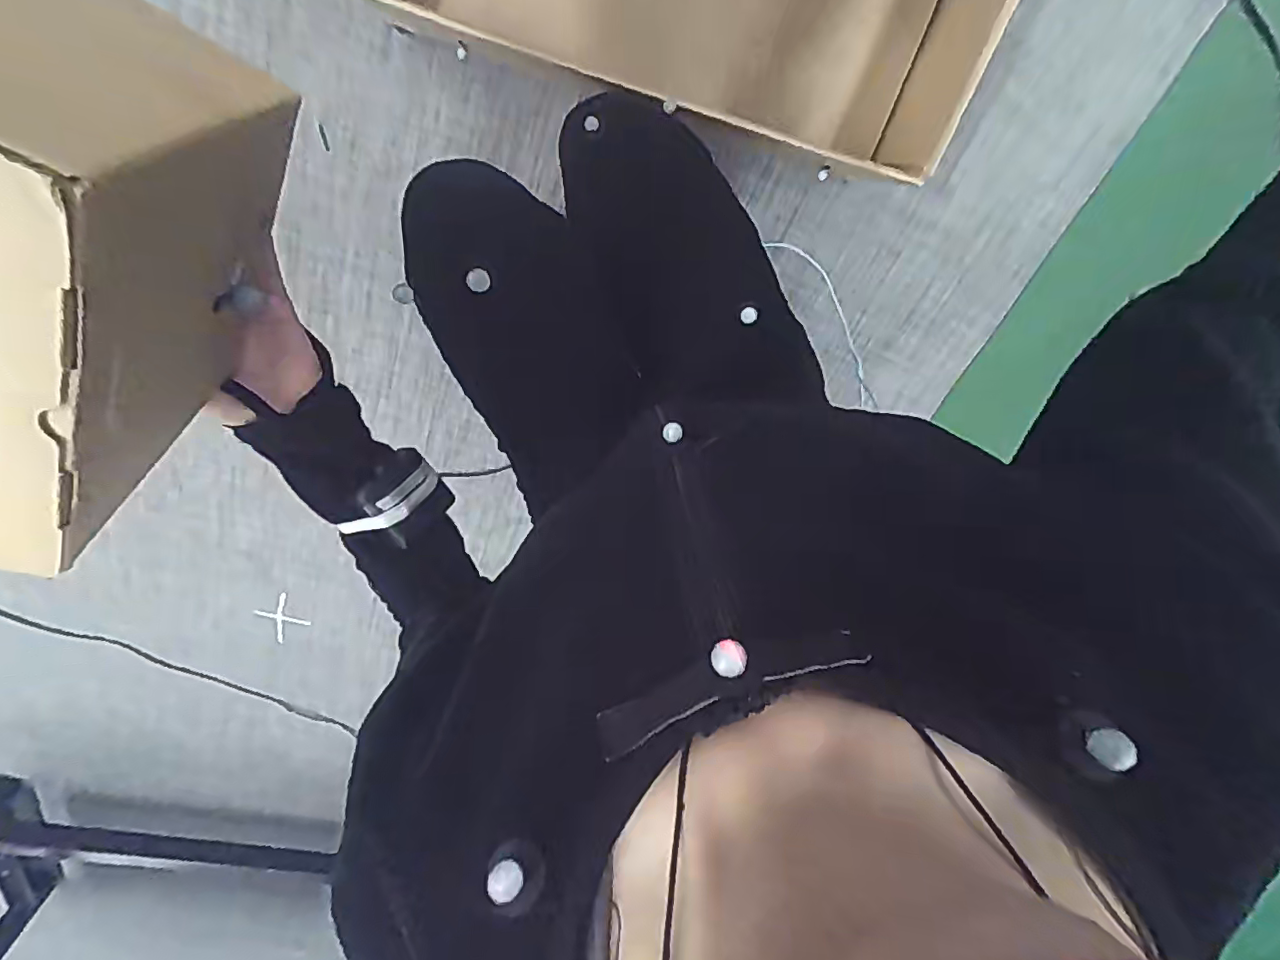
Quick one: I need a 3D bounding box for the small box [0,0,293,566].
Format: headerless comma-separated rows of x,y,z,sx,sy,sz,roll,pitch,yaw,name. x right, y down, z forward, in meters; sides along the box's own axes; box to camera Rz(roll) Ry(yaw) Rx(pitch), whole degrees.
-0.268,-0.101,0.200,0.179,0.176,0.168,22,125,-28,small box
